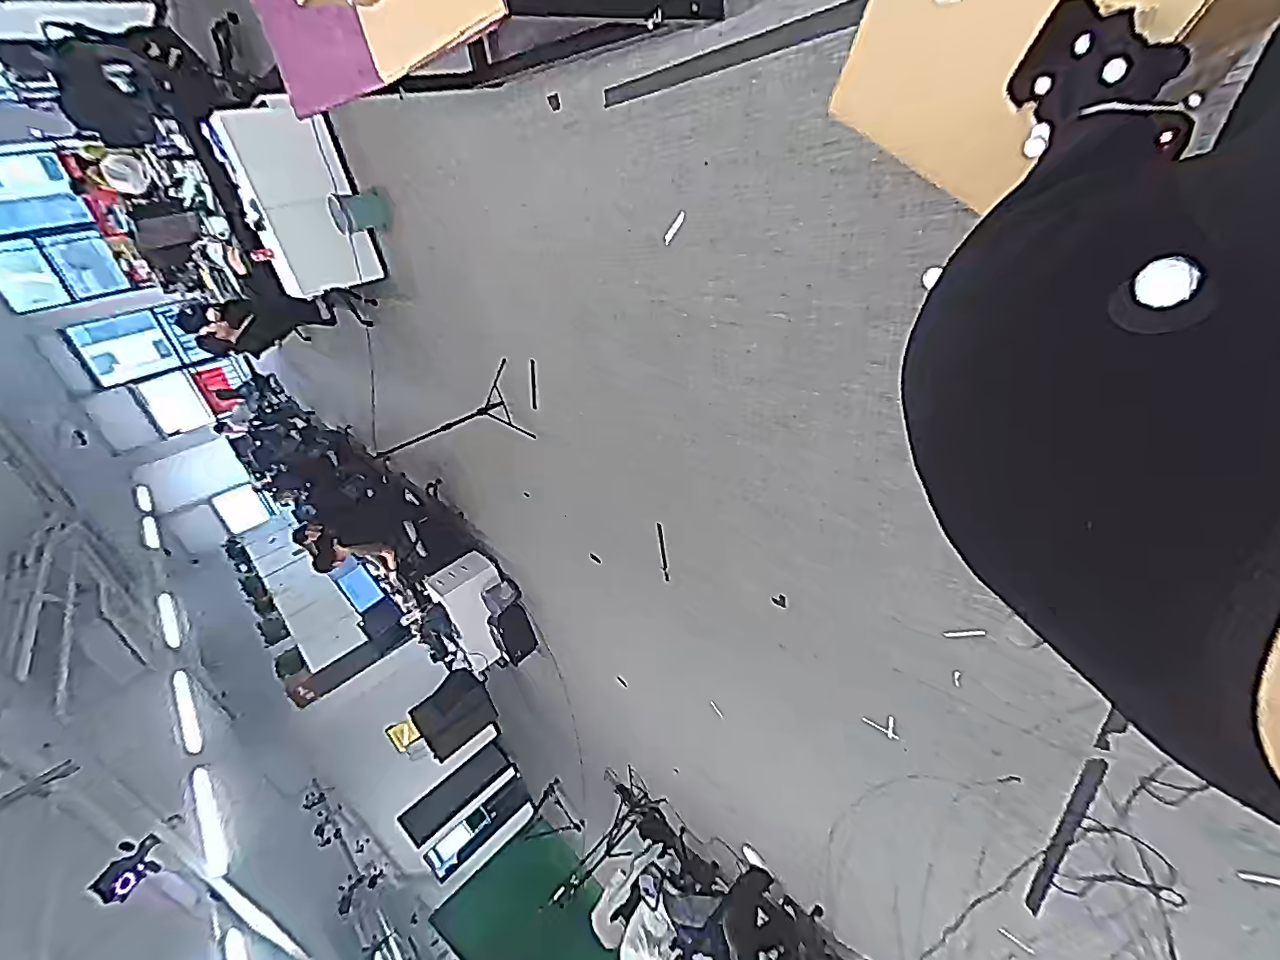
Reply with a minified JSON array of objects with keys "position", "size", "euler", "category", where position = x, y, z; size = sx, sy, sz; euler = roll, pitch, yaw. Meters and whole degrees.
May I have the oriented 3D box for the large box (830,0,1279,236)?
[{"position":[0.522,-0.577,0.659],"size":[0.320,0.408,0.320],"euler":[49,155,16],"category":"large box"}]
